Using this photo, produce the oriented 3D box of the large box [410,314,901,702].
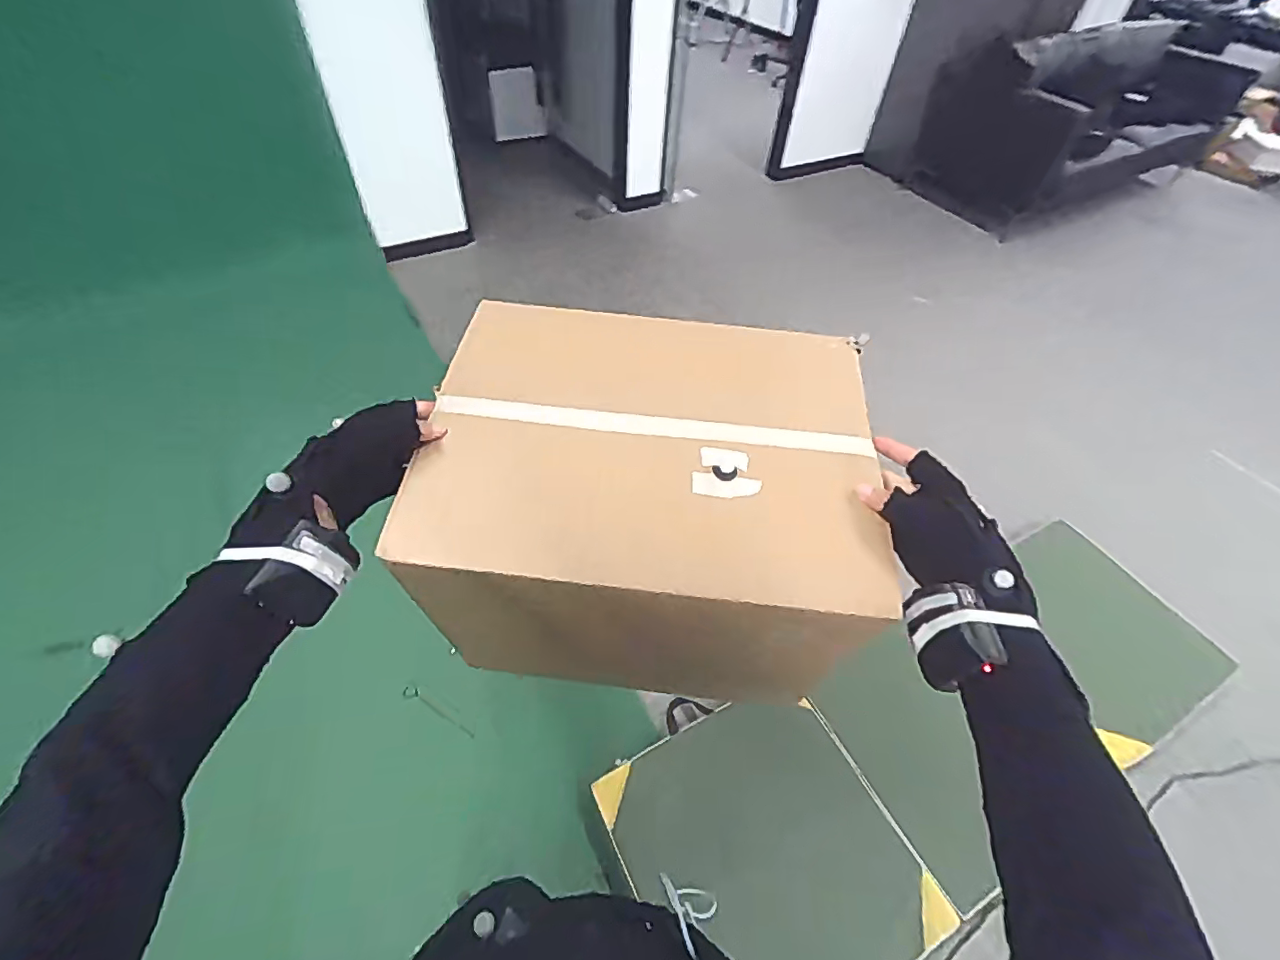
[{"bbox_3d":[0.016,0.045,0.633,0.408,0.320,0.320,7,56,1],"label":"large box"}]
